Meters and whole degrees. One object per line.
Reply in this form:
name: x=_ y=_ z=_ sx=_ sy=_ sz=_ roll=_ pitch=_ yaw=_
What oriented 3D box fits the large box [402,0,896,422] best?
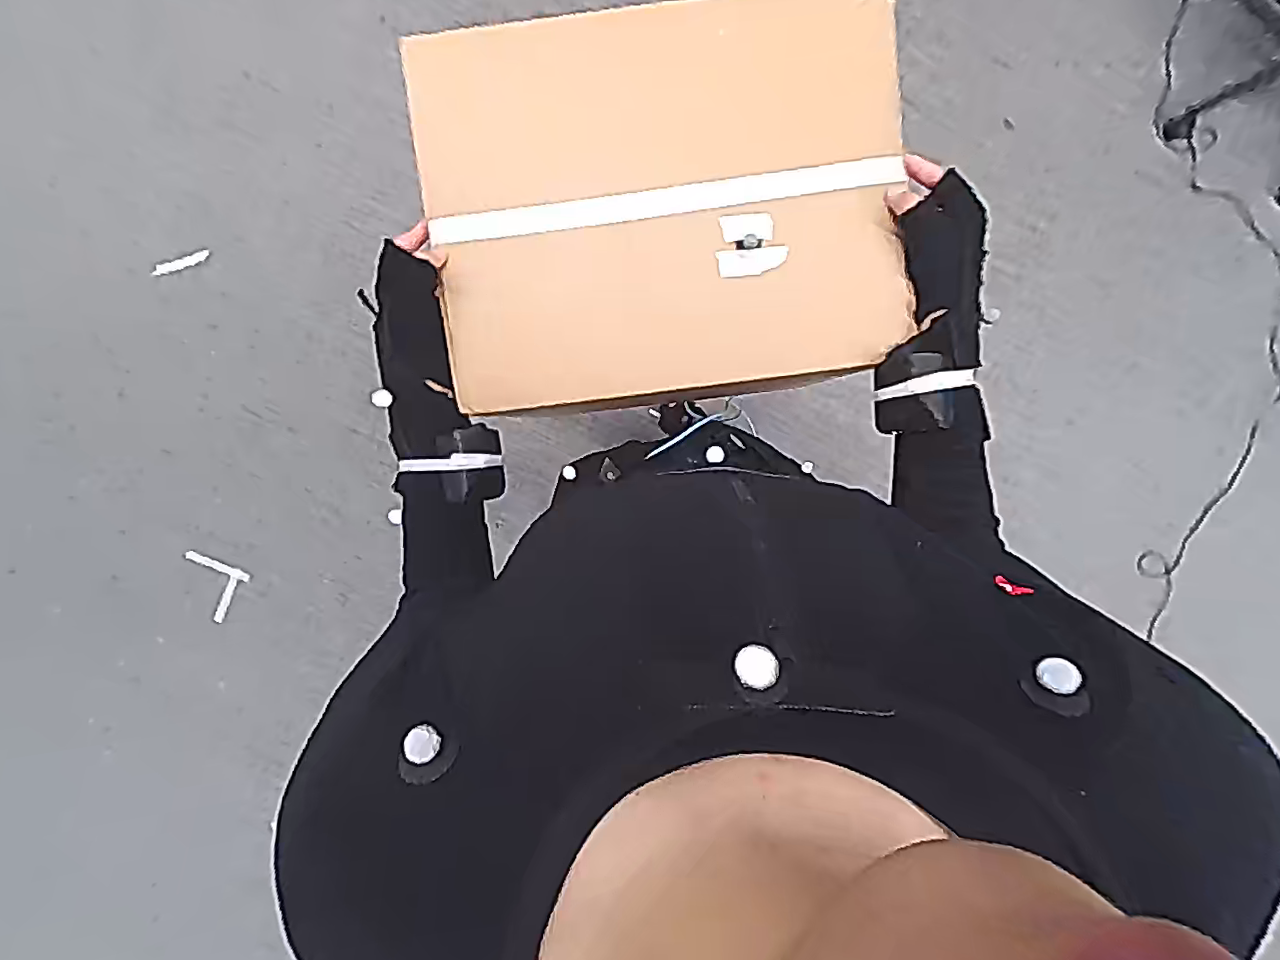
large box: x=0.011 y=-0.249 z=0.621 sx=0.408 sy=0.320 sz=0.320 roll=-8 pitch=97 yaw=0
